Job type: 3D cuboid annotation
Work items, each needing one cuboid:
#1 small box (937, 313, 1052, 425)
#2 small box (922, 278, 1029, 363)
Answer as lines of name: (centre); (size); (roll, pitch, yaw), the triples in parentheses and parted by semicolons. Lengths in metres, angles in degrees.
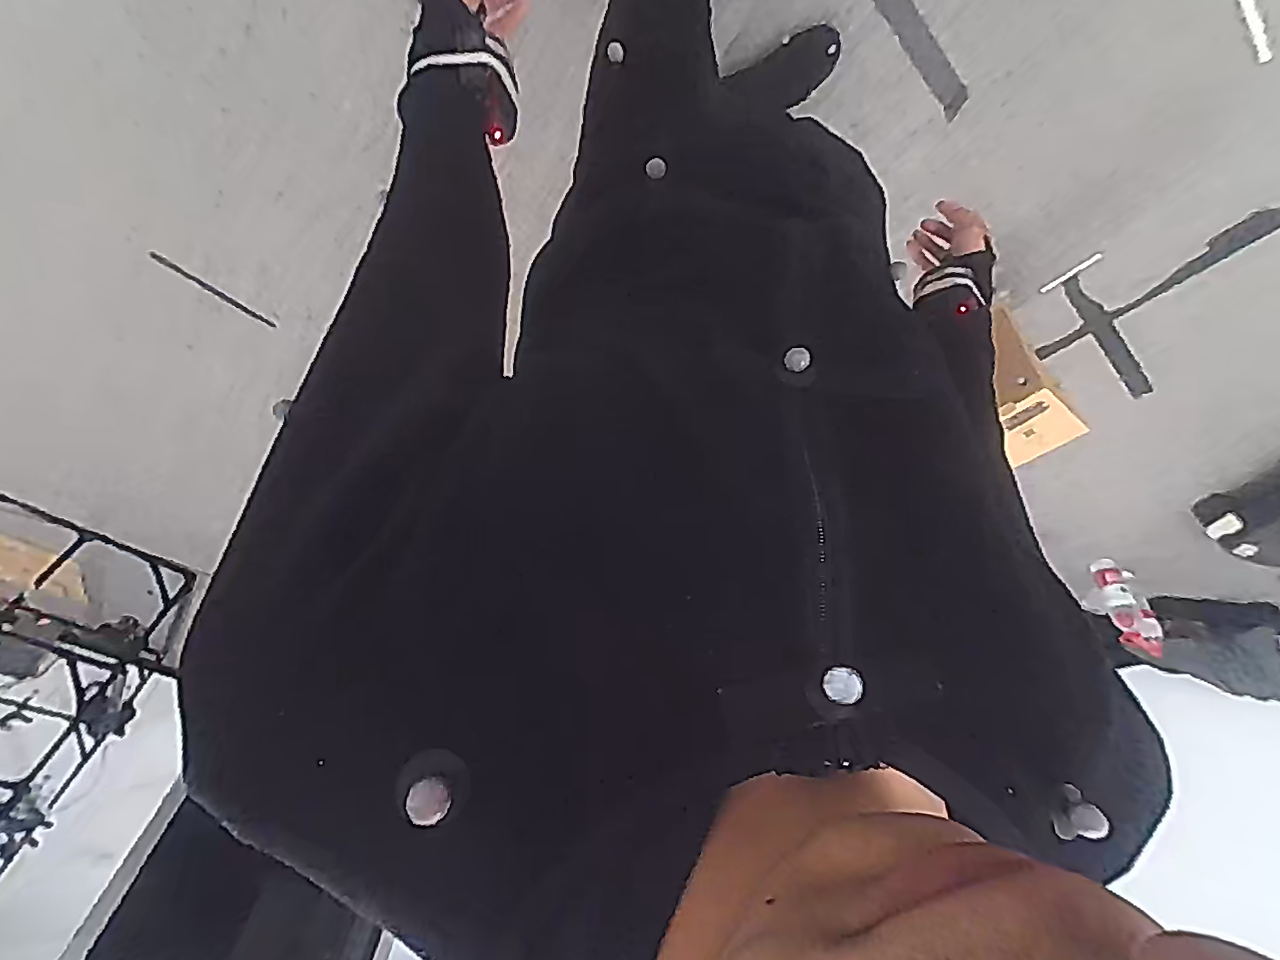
small box: (0.873, -0.275, 1.341); (0.179, 0.176, 0.168); (36, 133, -24)
small box: (0.885, -0.399, 1.447); (0.168, 0.176, 0.179); (32, 133, -22)
